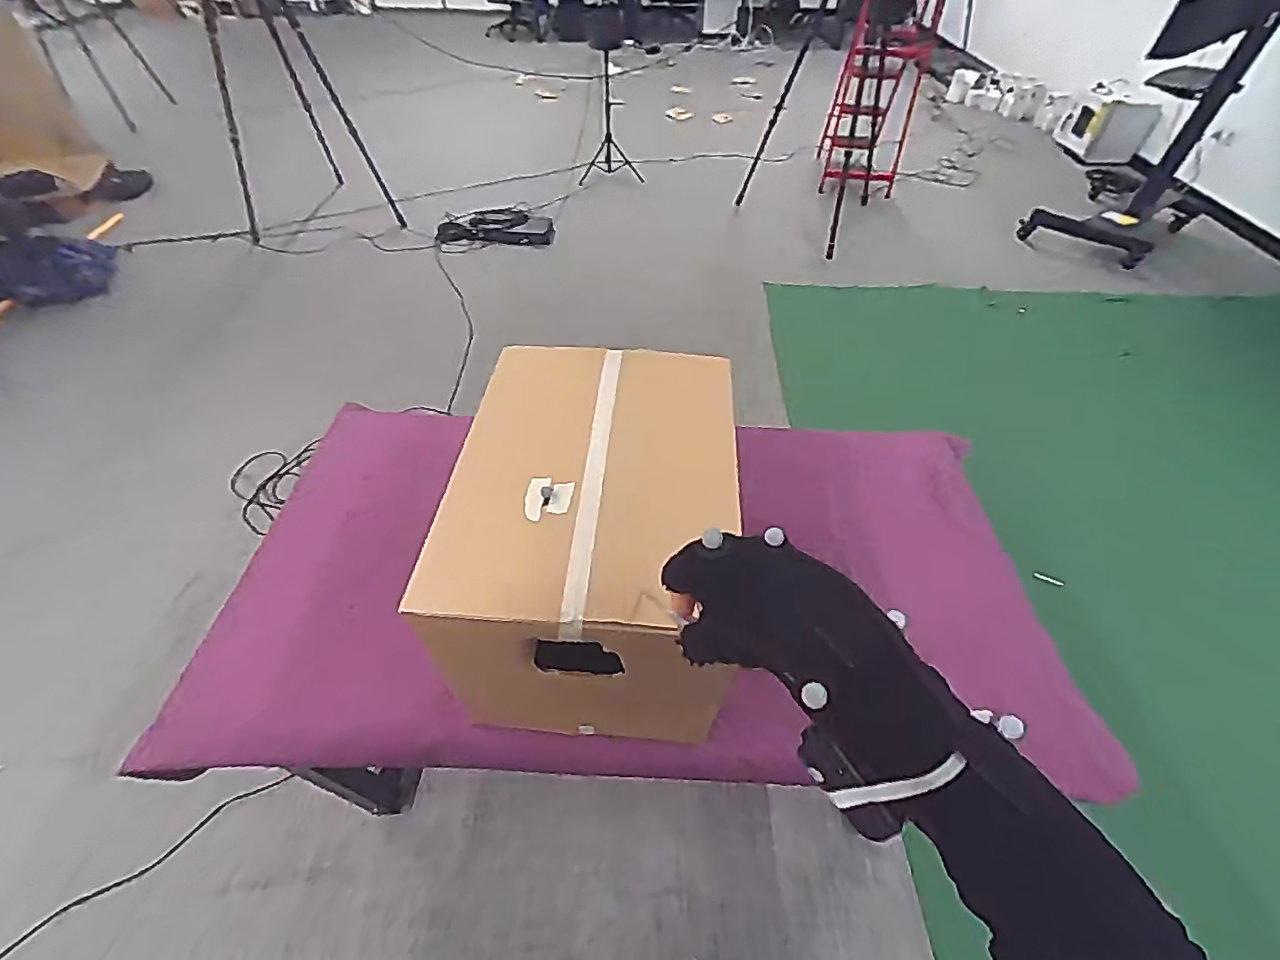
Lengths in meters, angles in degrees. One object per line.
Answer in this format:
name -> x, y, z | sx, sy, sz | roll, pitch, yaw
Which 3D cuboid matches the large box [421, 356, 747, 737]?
large box -> -0.048, 0.085, 0.737 | 0.320, 0.320, 0.408 | 4, 49, 2
